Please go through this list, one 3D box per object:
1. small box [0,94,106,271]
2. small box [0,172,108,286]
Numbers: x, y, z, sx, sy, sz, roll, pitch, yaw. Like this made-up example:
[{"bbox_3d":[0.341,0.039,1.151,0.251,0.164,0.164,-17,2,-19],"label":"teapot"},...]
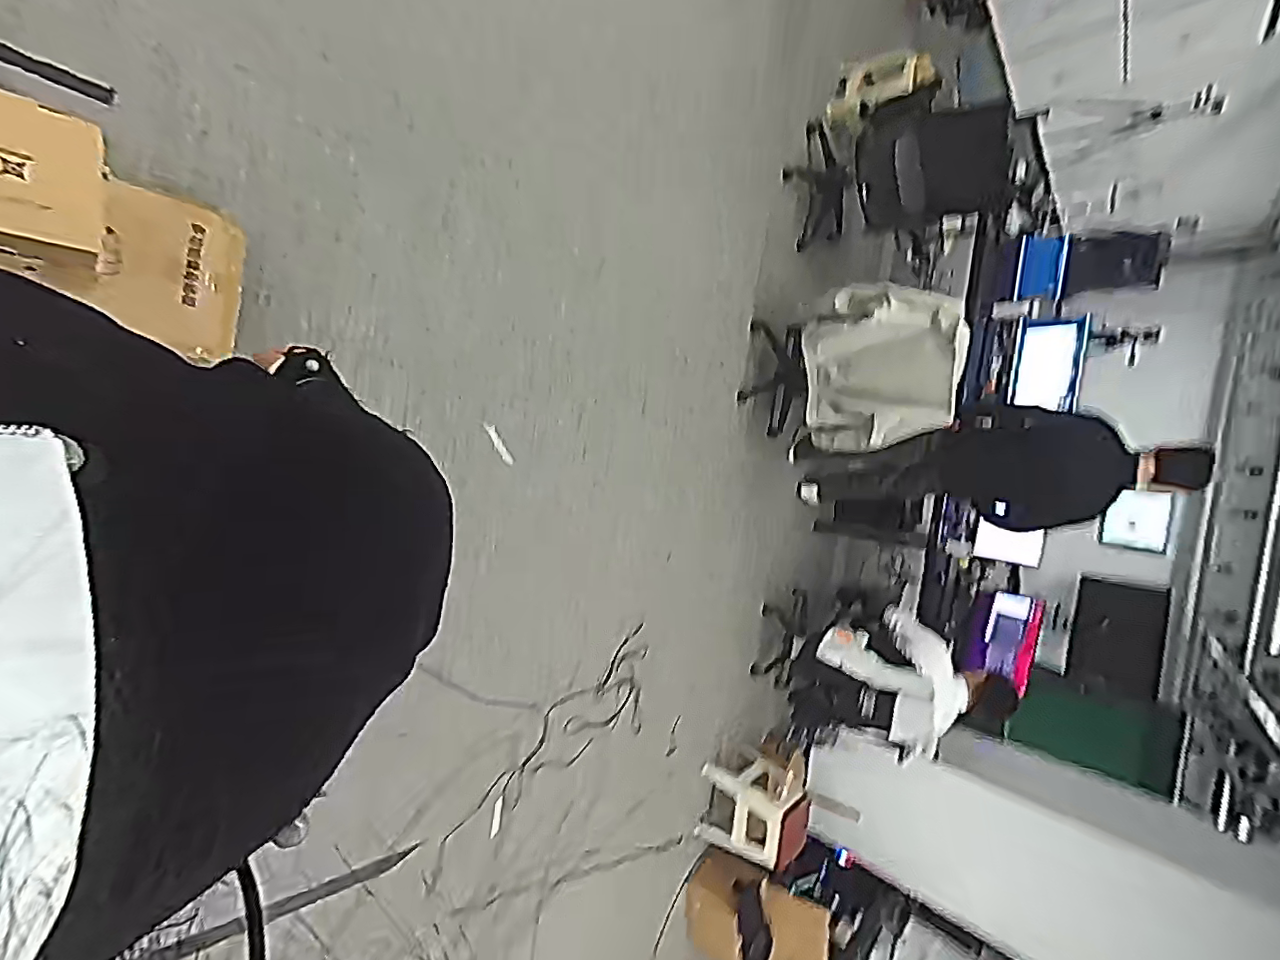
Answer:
[{"bbox_3d":[-0.863,-0.409,0.749,0.168,0.176,0.179,0,96,-46],"label":"small box"},{"bbox_3d":[-0.976,-0.425,0.866,0.168,0.176,0.179,3,94,-48],"label":"small box"}]
